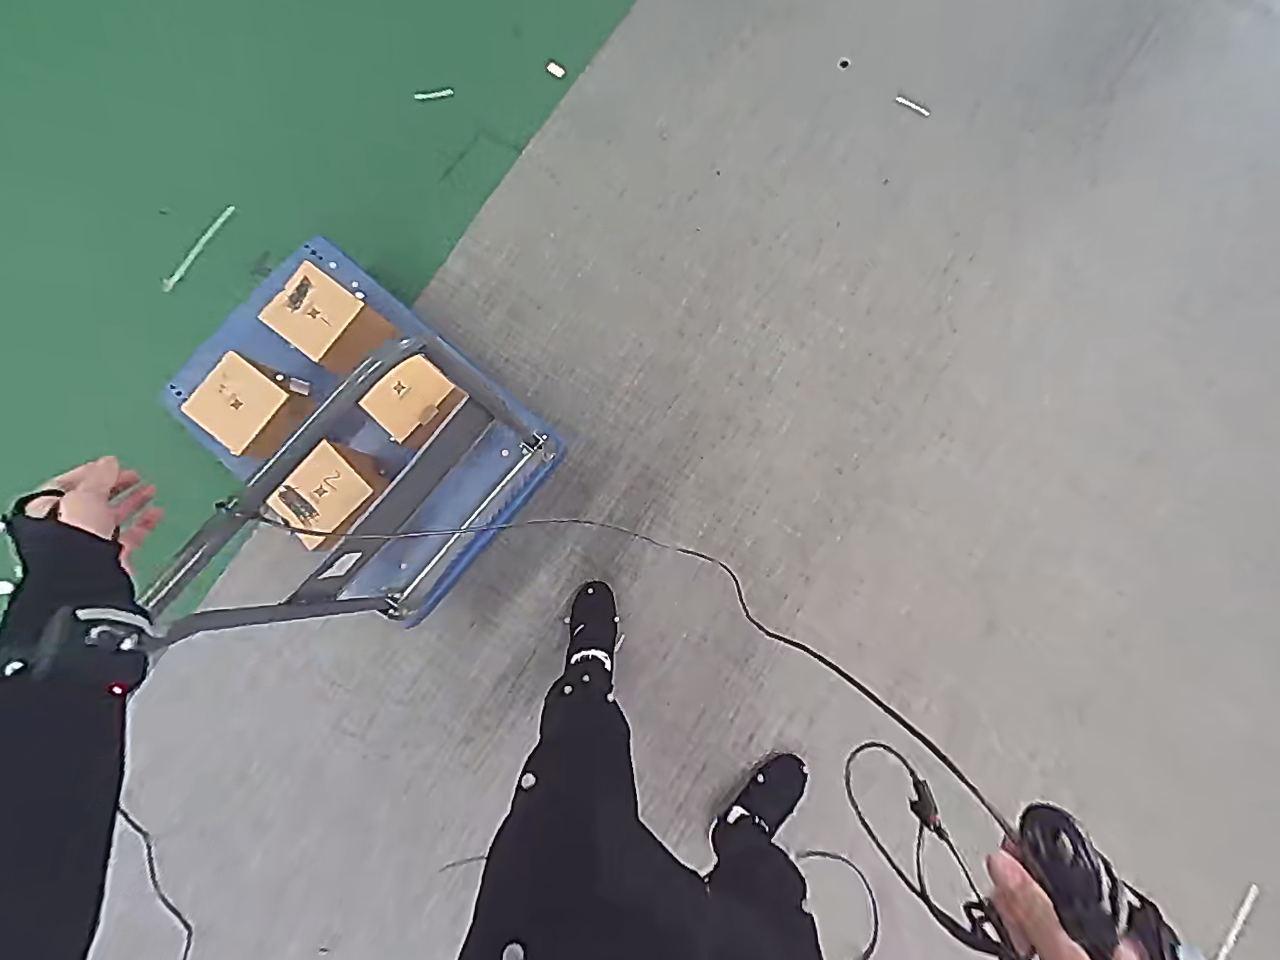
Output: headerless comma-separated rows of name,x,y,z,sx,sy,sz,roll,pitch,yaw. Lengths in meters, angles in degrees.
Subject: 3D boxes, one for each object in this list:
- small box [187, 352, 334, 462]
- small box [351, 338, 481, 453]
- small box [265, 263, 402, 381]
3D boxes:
small box,-0.851,-0.155,1.233,0.179,0.176,0.168,37,85,6
small box,-0.496,-0.180,1.221,0.179,0.176,0.168,42,86,6
small box,-0.699,-0.355,1.252,0.179,0.176,0.168,37,87,6
